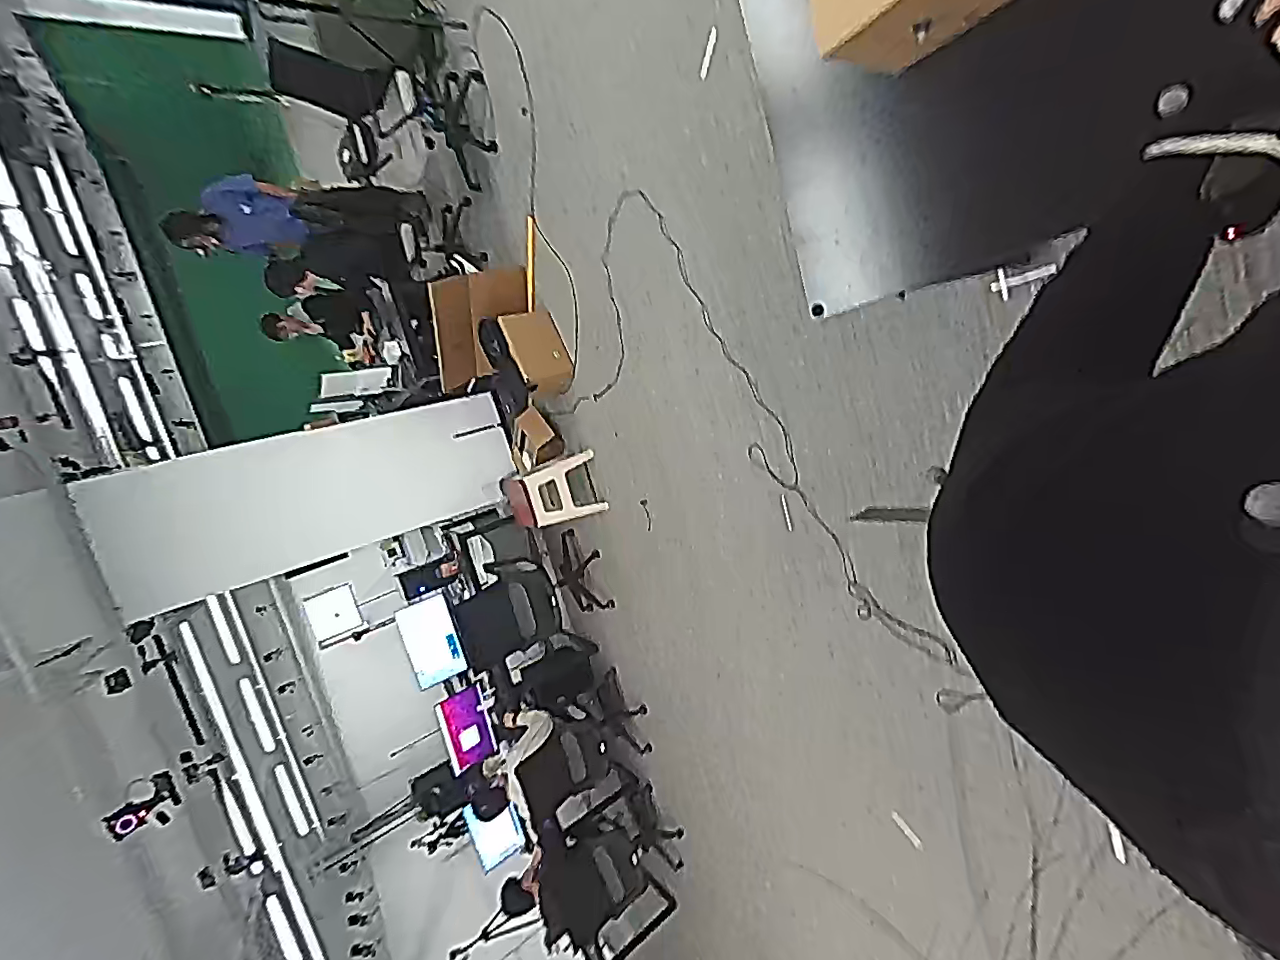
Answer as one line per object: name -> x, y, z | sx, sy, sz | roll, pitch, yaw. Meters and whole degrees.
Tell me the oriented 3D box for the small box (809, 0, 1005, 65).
small box -> 0.297, -0.591, 0.588 | 0.168, 0.176, 0.179 | 0, 107, 56
